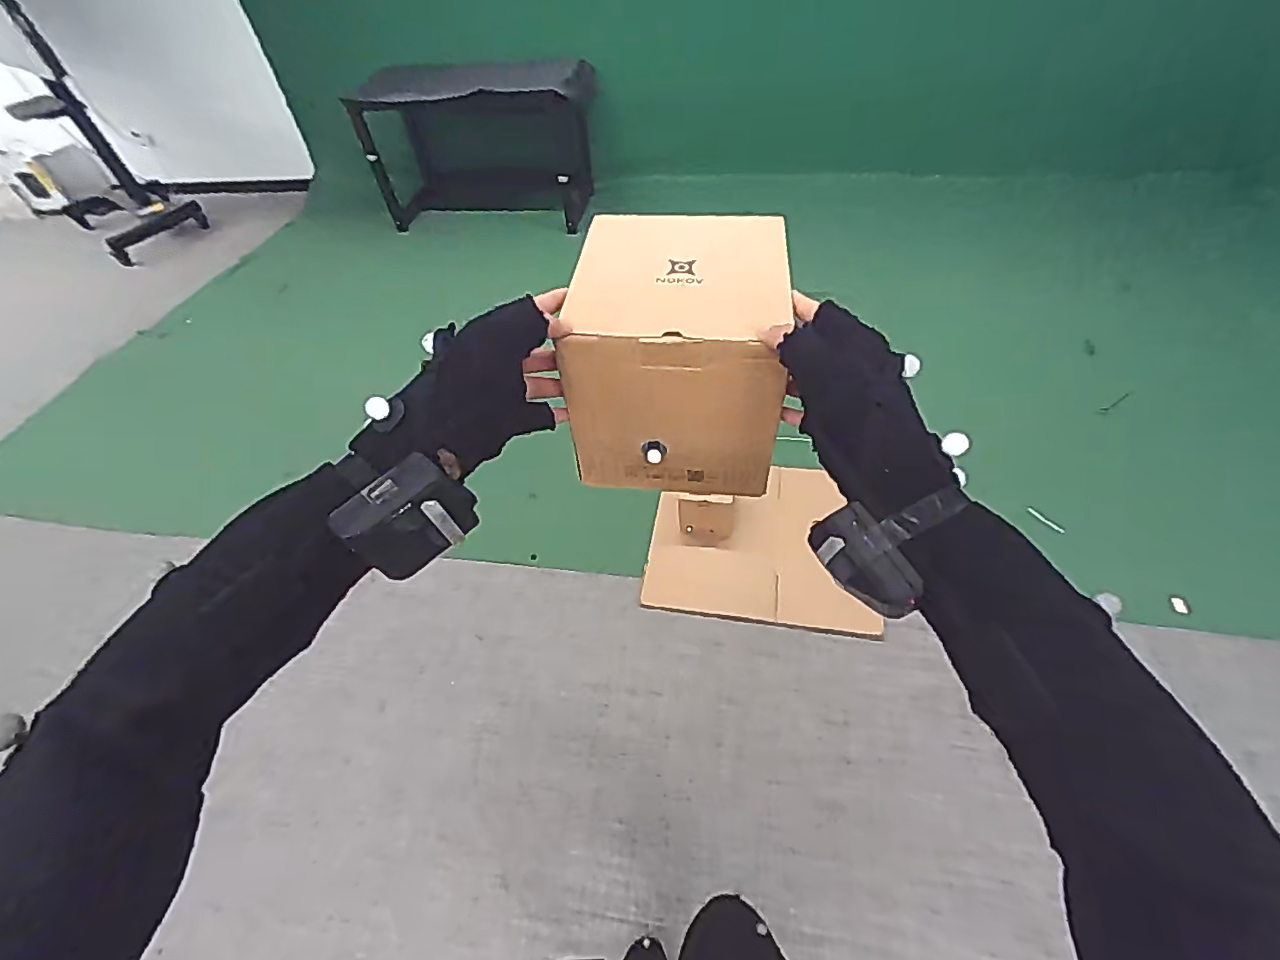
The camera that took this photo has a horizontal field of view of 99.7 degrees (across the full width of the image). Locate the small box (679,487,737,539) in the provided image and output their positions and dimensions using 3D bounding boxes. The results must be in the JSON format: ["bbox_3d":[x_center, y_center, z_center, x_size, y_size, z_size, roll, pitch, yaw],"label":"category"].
[{"bbox_3d":[0.225,0.070,1.743,0.168,0.176,0.179,6,48,12],"label":"small box"}]

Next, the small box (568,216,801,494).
[{"bbox_3d":[0.041,-0.111,0.486,0.168,0.176,0.179,4,52,6],"label":"small box"}]
